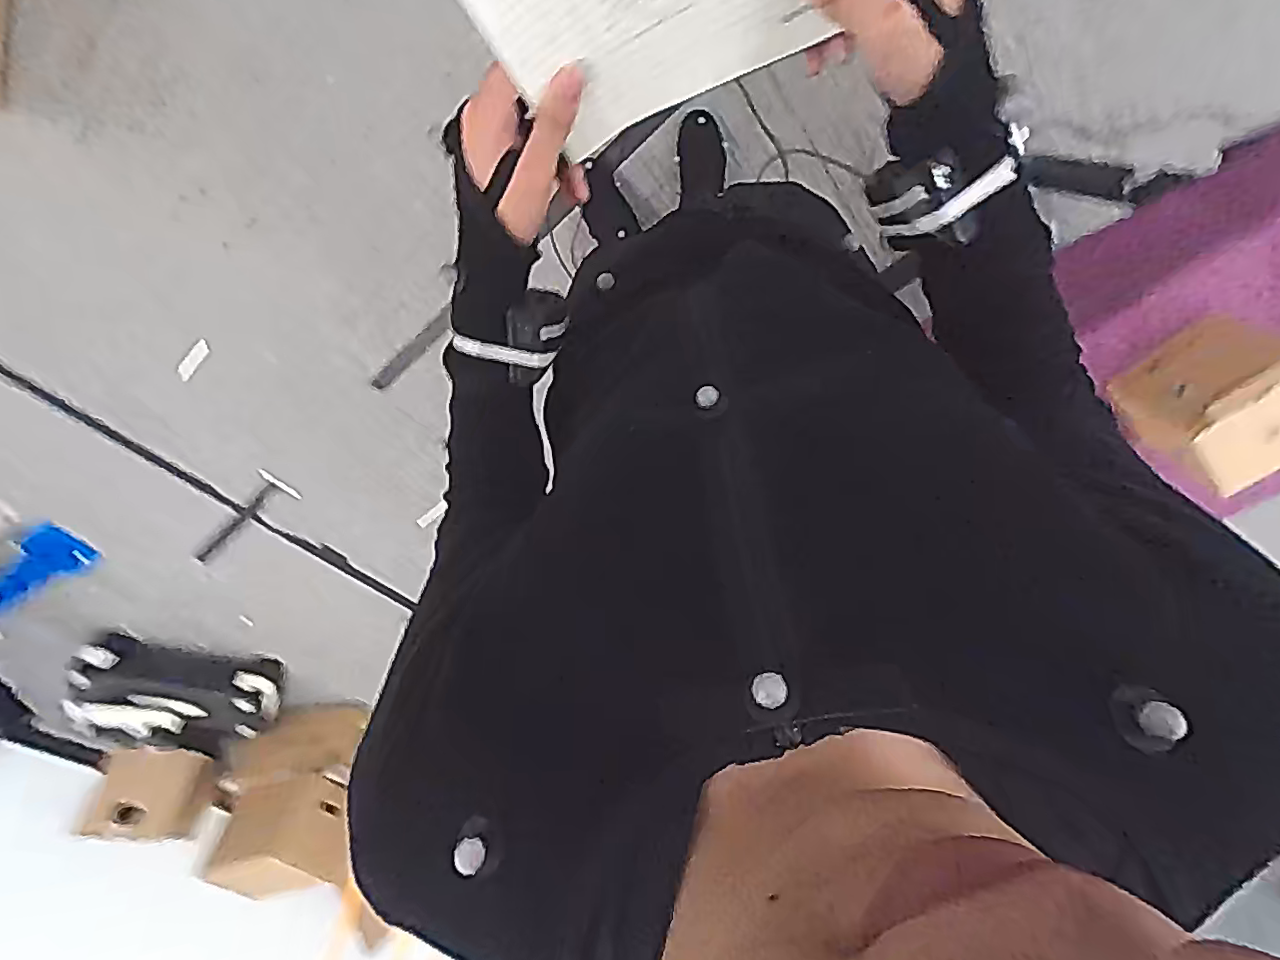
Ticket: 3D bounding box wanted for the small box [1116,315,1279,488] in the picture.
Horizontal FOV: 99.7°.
[{"bbox_3d":[0.891,-0.127,0.825,0.179,0.176,0.168,34,118,-25],"label":"small box"}]
